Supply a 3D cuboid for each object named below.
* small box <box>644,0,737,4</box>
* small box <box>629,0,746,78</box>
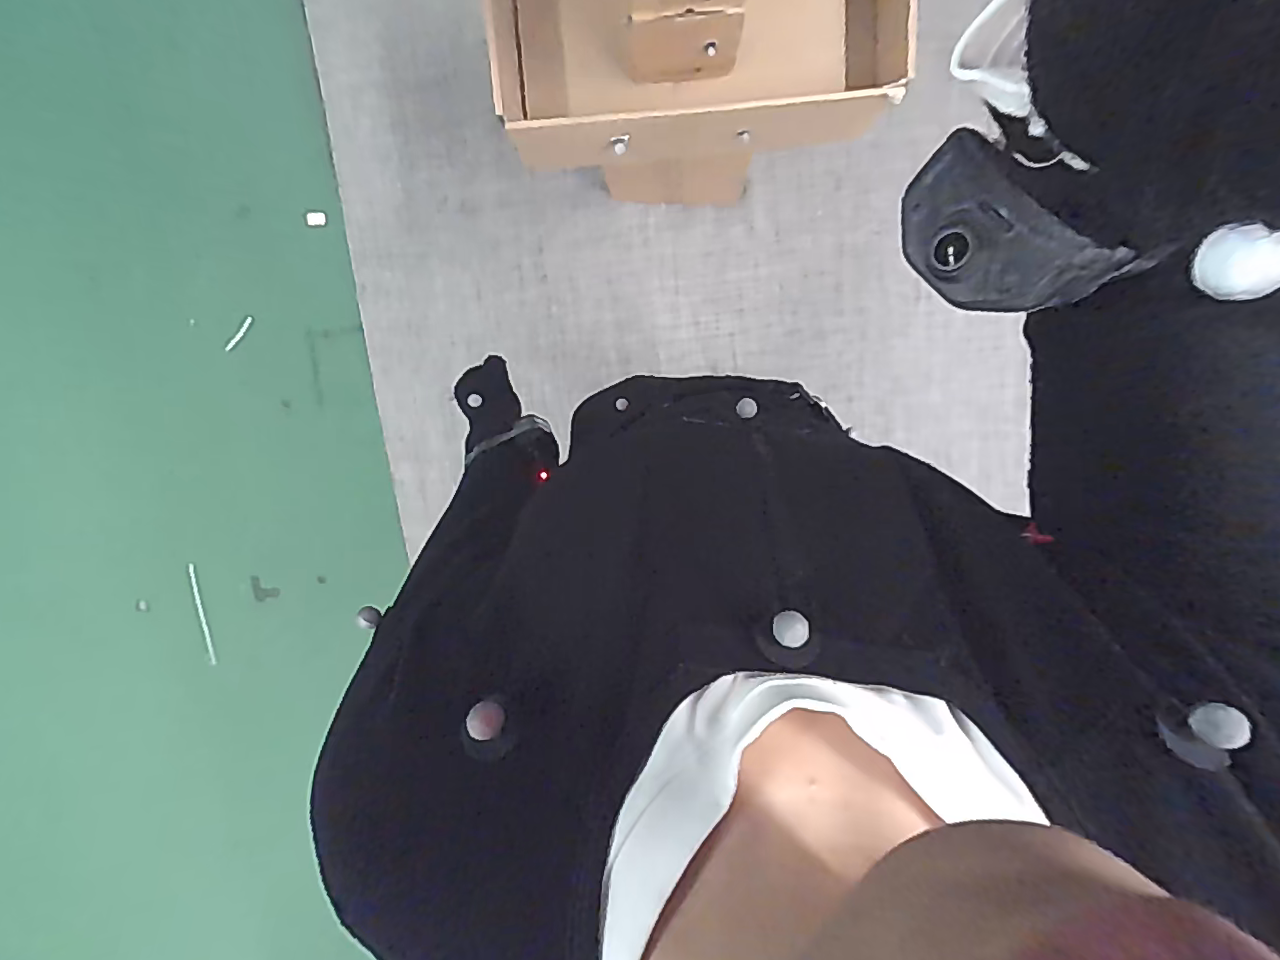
[{"bbox_3d":[0.064,-0.729,0.662,0.168,0.176,0.179,-4,101,1],"label":"small box"},{"bbox_3d":[0.066,-0.750,0.825,0.168,0.176,0.179,-4,98,1],"label":"small box"}]
